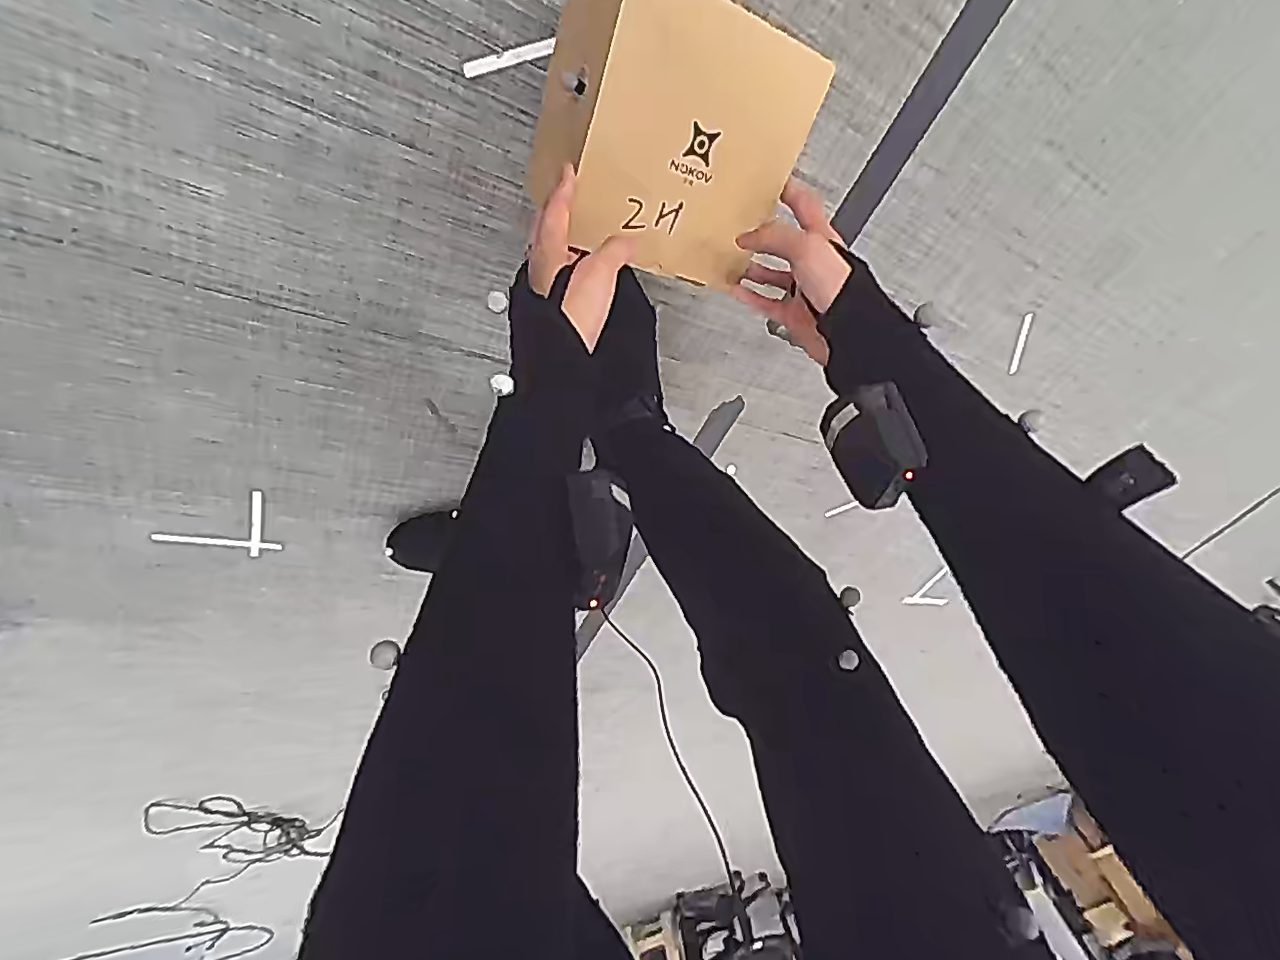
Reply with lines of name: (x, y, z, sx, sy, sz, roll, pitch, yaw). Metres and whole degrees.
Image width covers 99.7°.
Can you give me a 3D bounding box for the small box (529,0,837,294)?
small box: (0.016, -0.286, 0.447, 0.168, 0.176, 0.179, 6, 128, -27)
